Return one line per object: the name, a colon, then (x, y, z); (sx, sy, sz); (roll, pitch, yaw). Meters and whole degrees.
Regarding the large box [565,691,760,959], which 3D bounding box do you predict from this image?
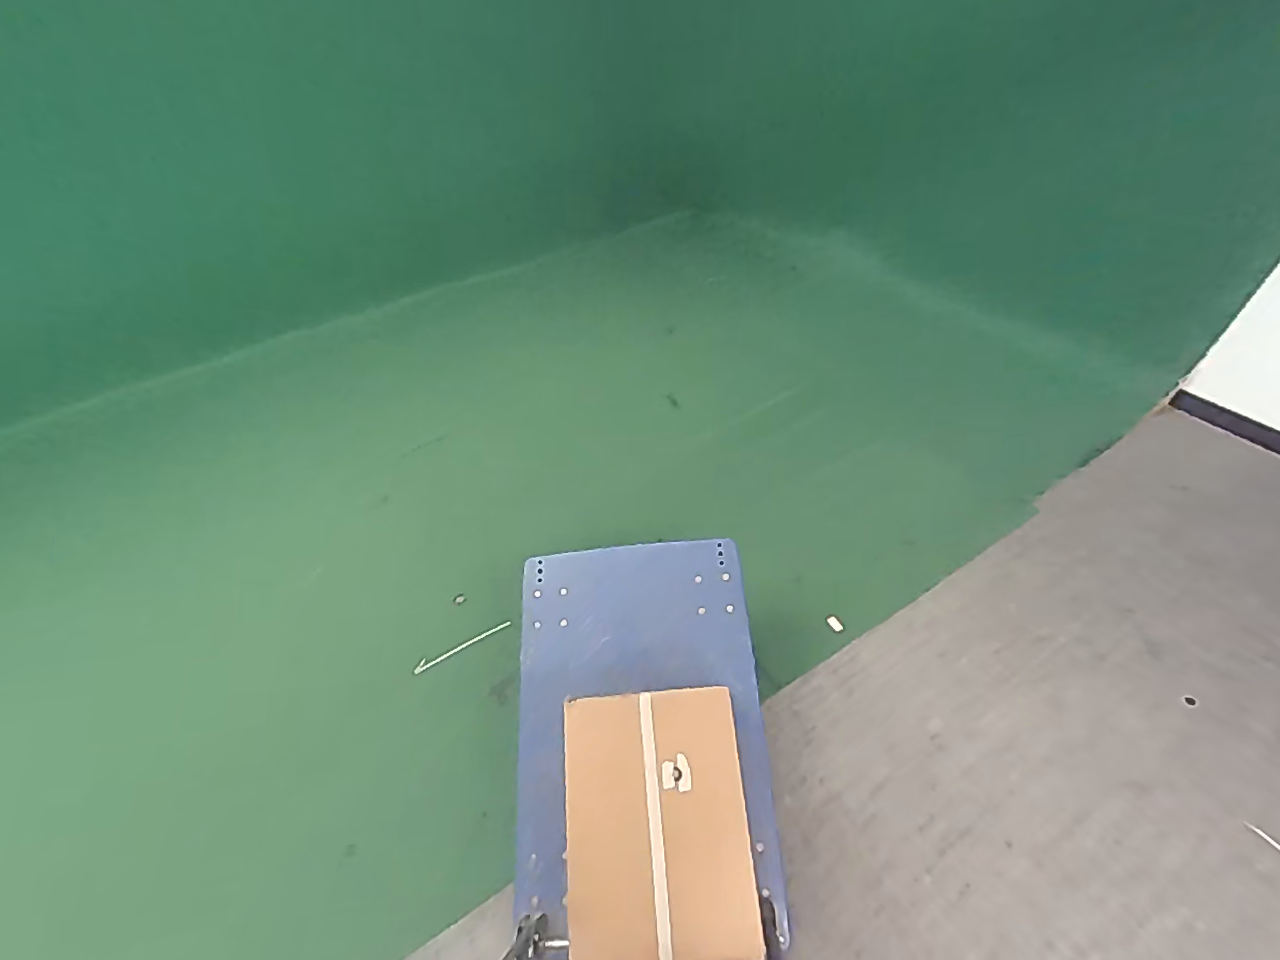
large box: (0.044, 0.656, 1.081); (0.320, 0.320, 0.408); (-7, 65, 5)
